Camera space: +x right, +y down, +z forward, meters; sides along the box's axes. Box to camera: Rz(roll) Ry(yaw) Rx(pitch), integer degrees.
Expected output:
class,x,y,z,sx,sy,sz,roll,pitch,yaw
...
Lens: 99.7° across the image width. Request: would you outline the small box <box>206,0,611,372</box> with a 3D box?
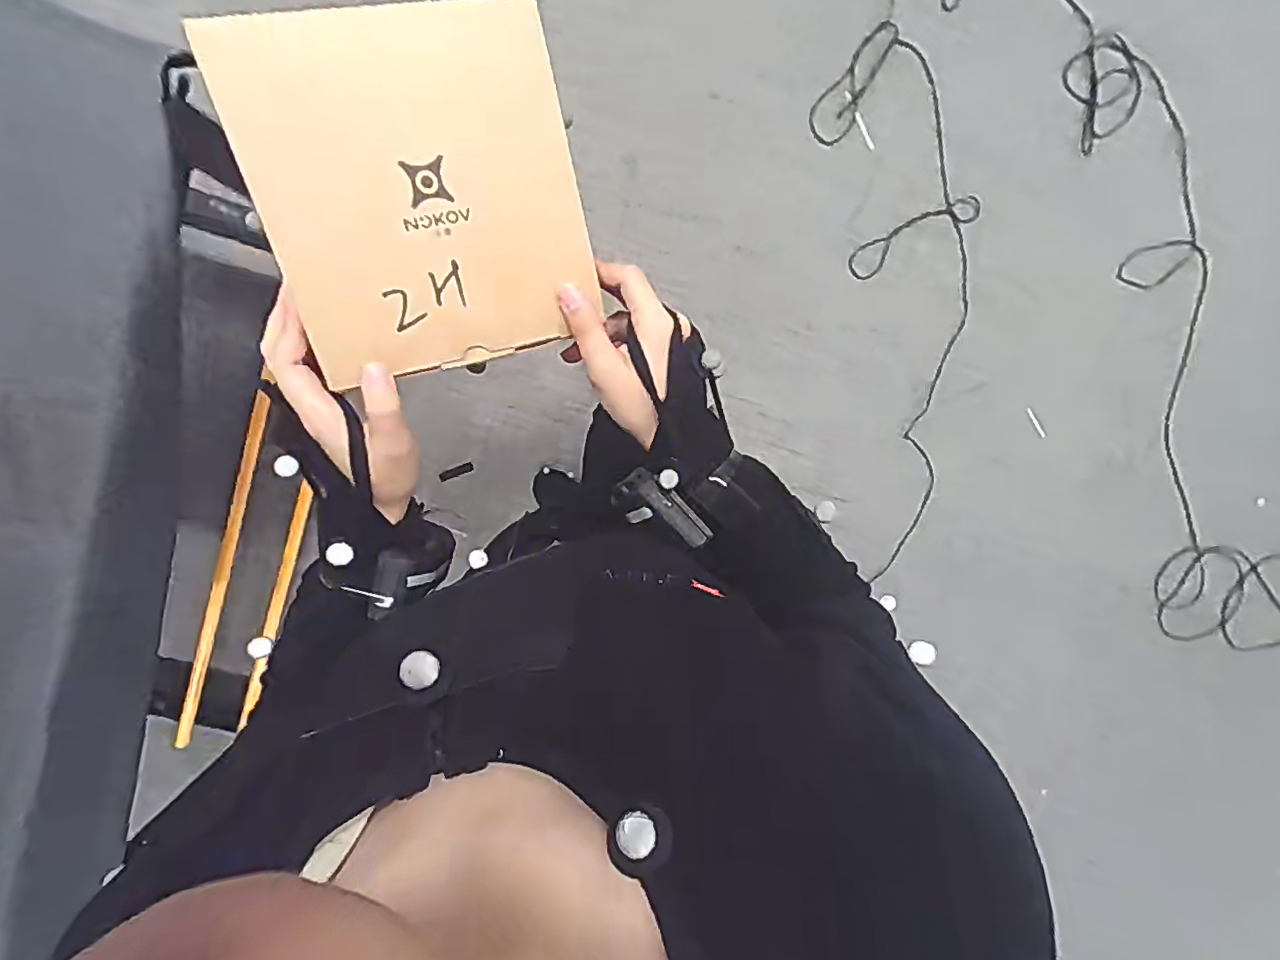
class,x,y,z,sx,sy,sz,roll,pitch,yaw
small box,-0.134,-0.179,0.366,0.168,0.176,0.179,-17,110,-13
